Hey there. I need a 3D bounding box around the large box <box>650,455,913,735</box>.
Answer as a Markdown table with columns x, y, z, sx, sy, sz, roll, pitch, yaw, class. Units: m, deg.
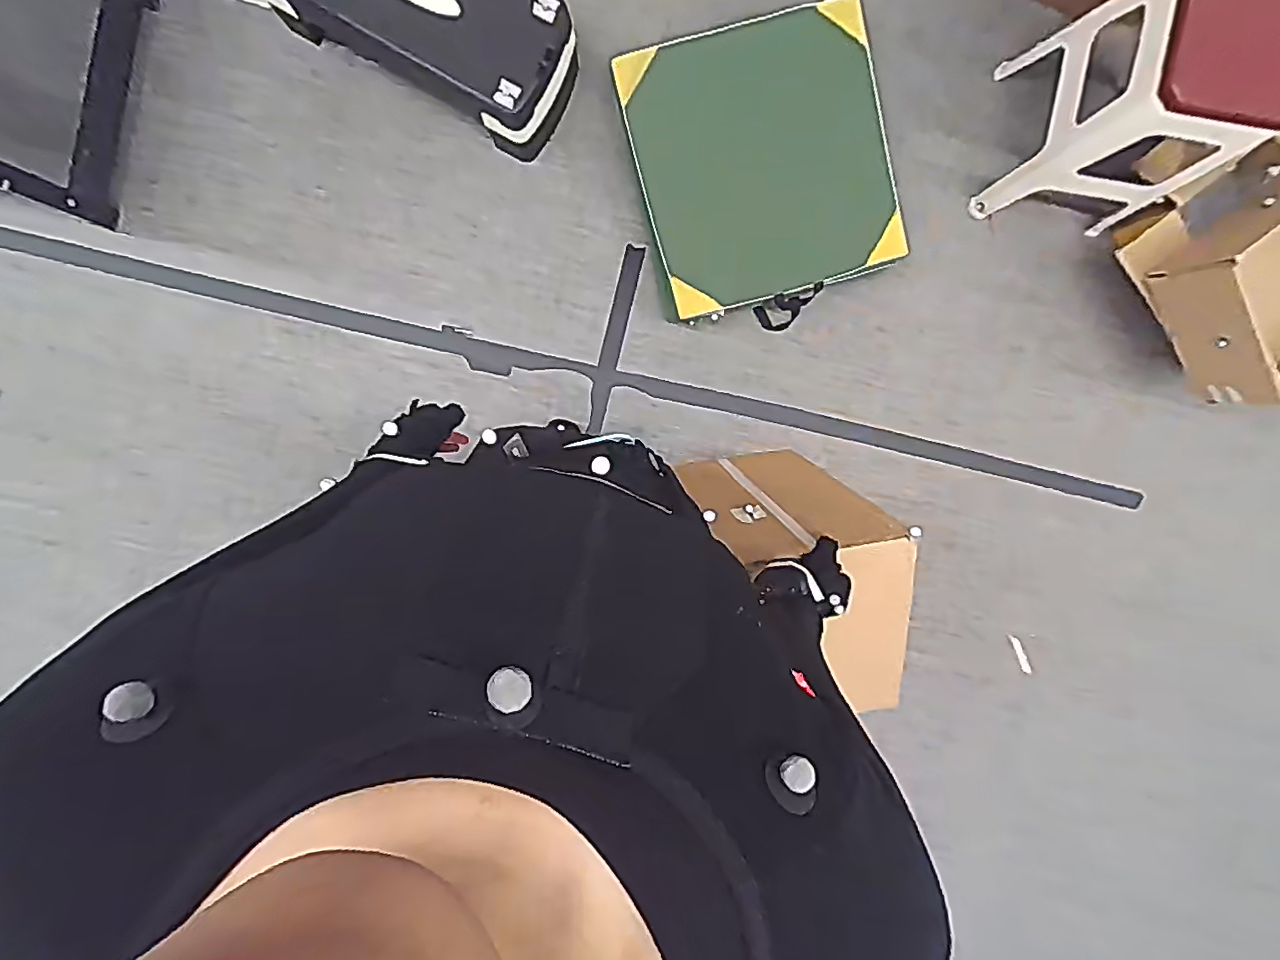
| x | y | z | sx | sy | sz | roll | pitch | yaw | class |
| --- | --- | --- | --- | --- | --- | --- | --- | --- | --- |
| 0.214 | 0.176 | 0.991 | 0.320 | 0.408 | 0.320 | -8 | 113 | -8 | large box |
